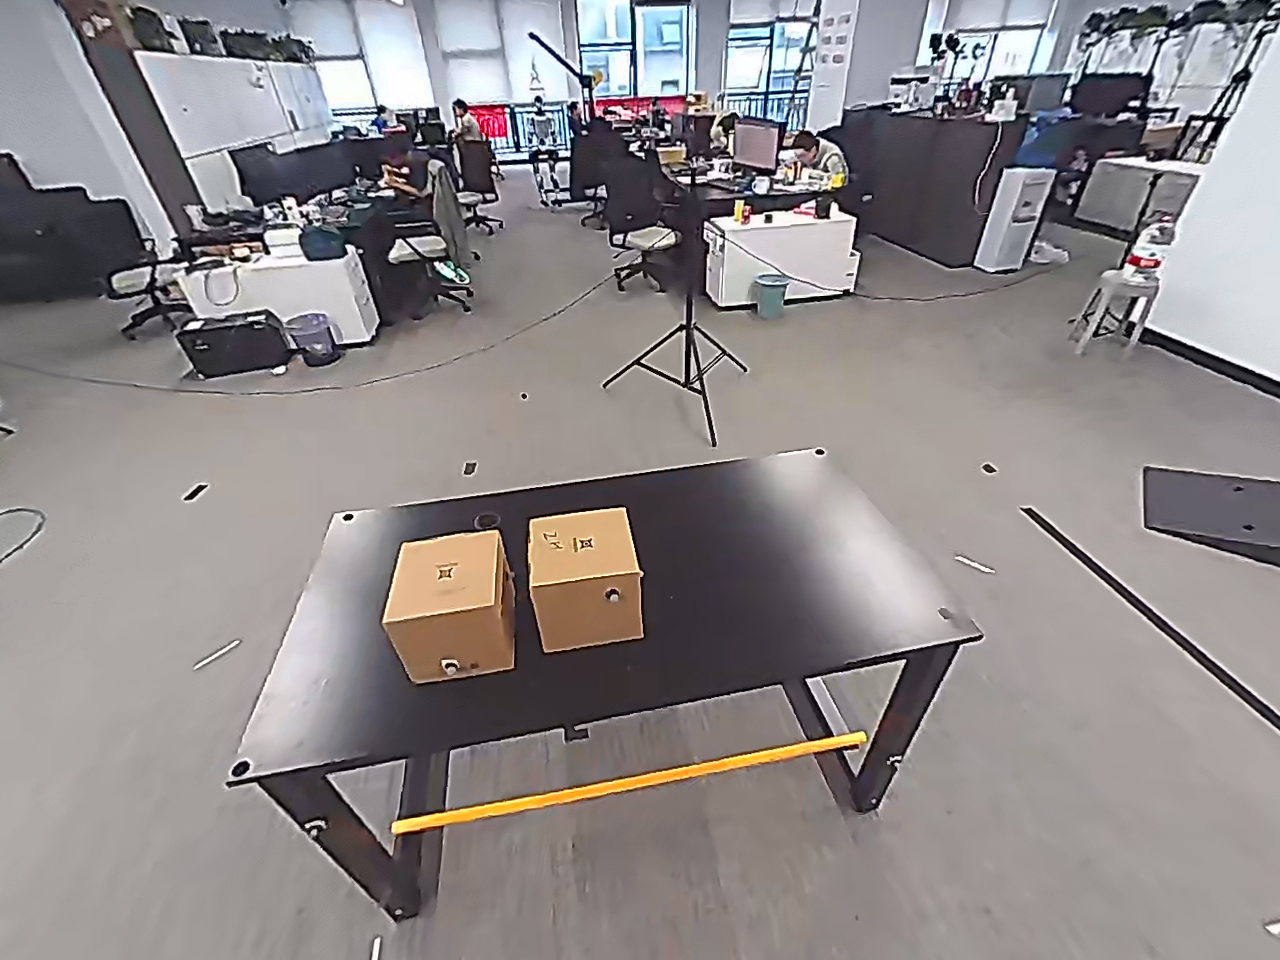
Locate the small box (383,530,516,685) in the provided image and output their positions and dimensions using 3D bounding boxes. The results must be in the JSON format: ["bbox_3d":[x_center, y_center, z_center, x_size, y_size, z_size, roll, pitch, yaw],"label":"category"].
[{"bbox_3d":[-0.308,0.212,0.912,0.168,0.176,0.179,-9,38,-7],"label":"small box"}]
